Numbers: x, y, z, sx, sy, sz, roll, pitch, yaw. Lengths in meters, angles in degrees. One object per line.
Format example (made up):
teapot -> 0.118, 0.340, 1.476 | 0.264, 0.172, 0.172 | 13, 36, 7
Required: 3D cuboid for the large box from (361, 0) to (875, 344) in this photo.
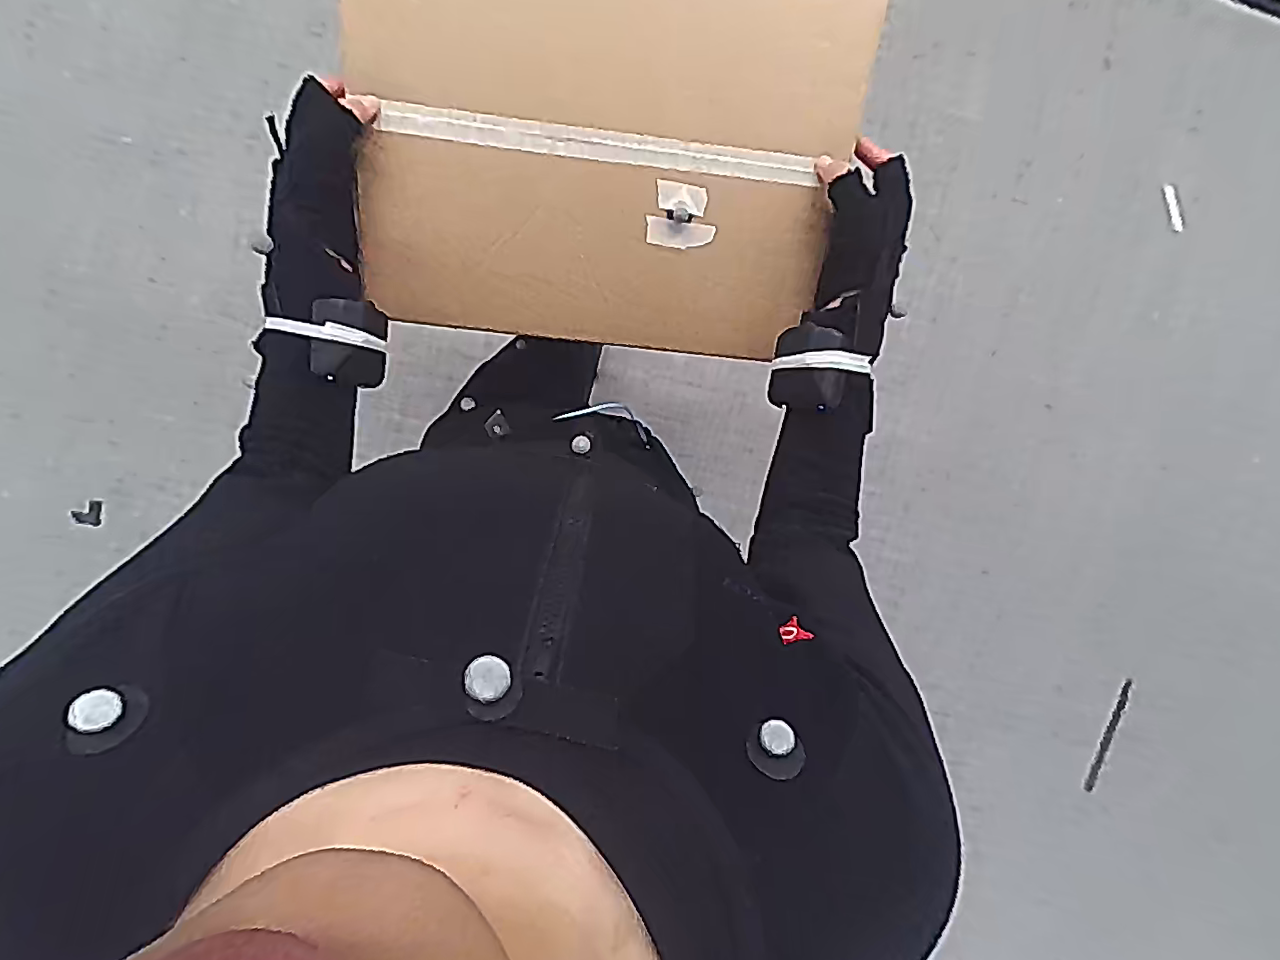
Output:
large box -> -0.032, -0.339, 0.591 | 0.408, 0.320, 0.320 | 5, 112, -5
